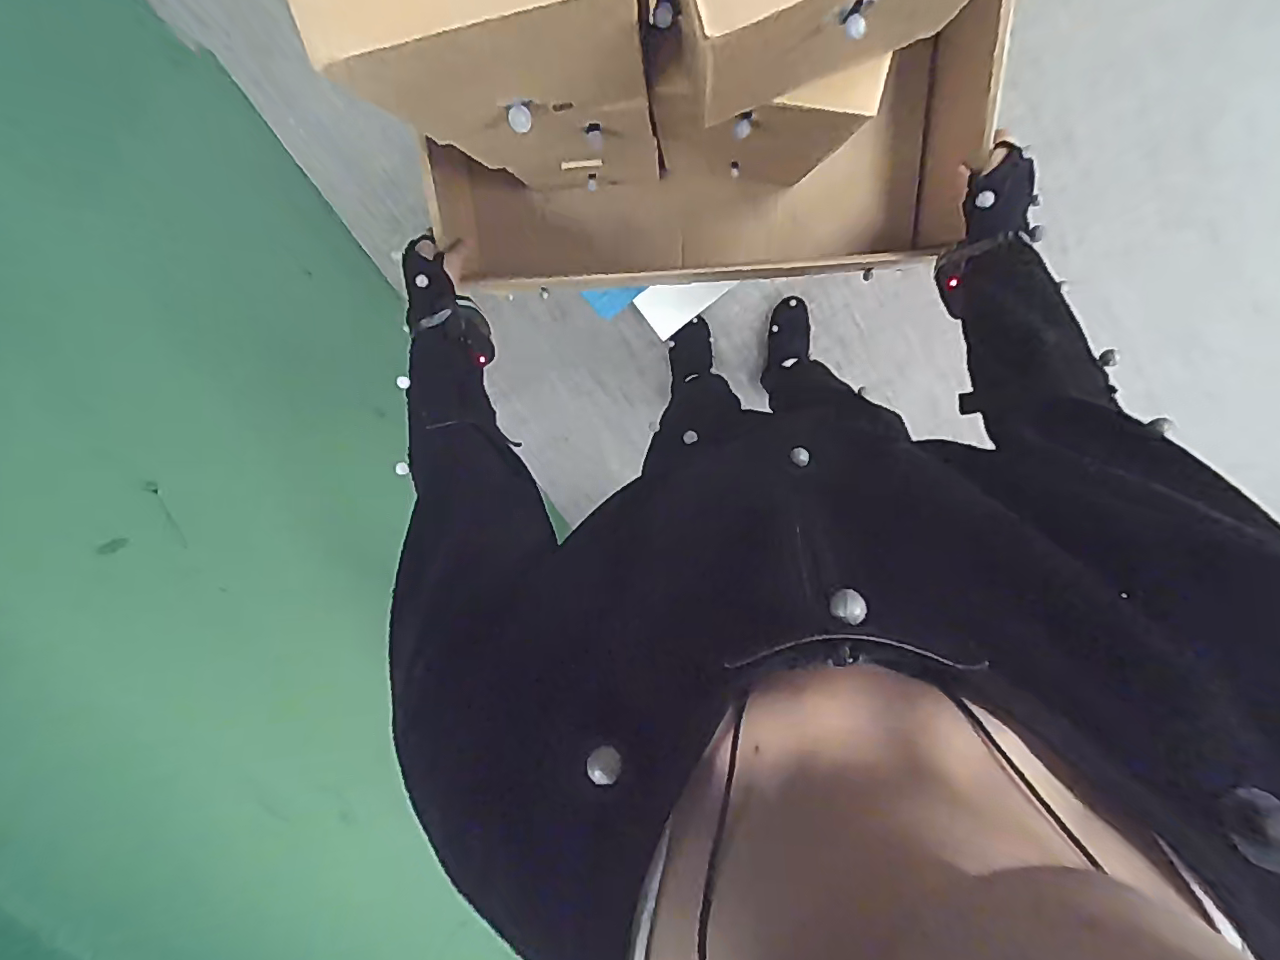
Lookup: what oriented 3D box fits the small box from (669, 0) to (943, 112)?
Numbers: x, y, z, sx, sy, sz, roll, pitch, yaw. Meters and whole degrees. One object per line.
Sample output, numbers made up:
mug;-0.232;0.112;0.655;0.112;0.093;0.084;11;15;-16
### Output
small box;0.091;-0.341;0.297;0.179;0.176;0.168;-15;108;12
